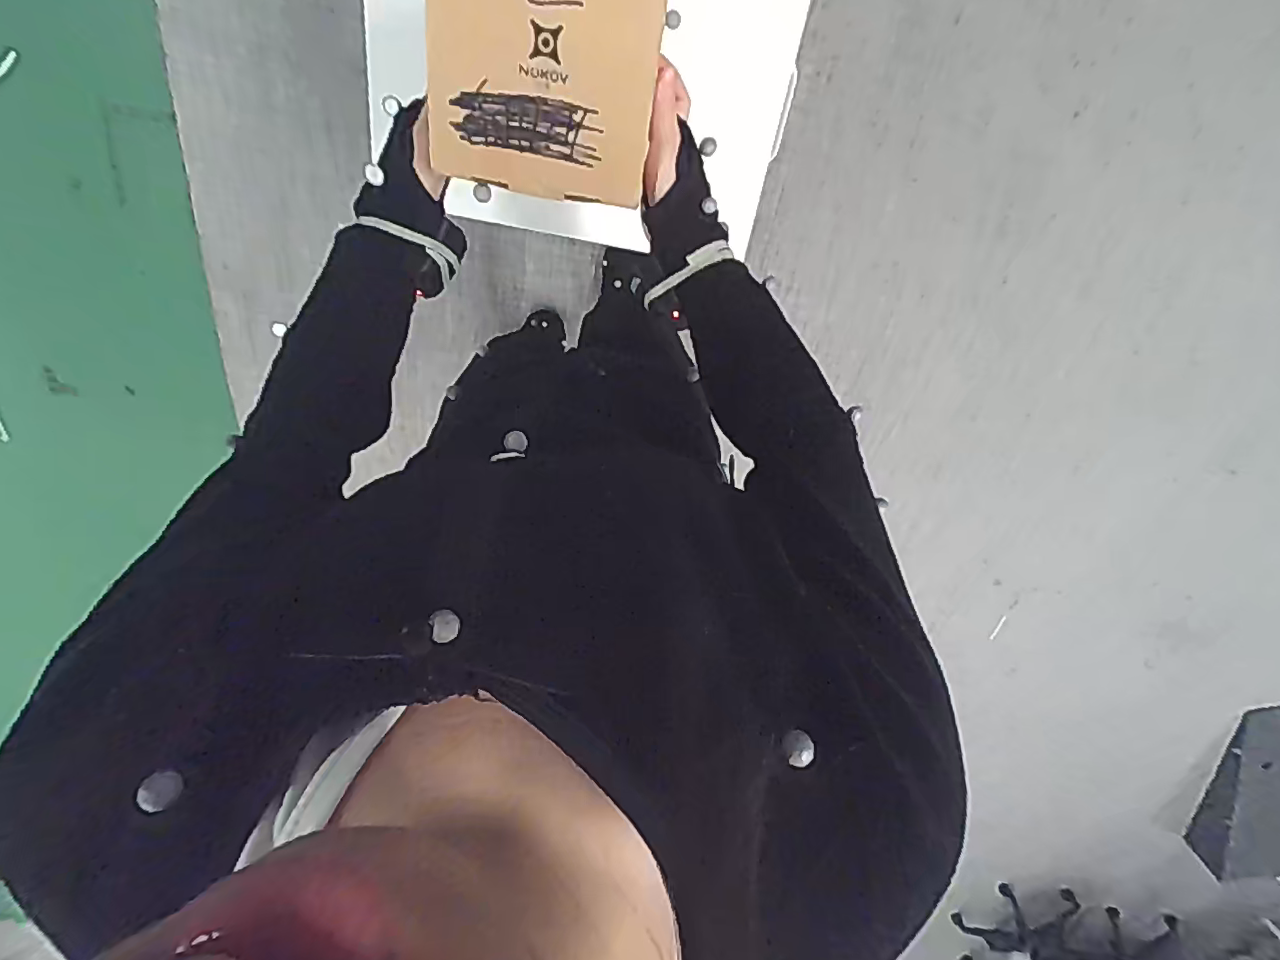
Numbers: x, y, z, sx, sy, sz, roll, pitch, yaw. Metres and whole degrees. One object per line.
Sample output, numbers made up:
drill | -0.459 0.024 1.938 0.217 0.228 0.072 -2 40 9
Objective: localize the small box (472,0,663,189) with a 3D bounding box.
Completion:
small box | -0.075 -0.429 0.585 0.168 0.176 0.179 9 118 -5
